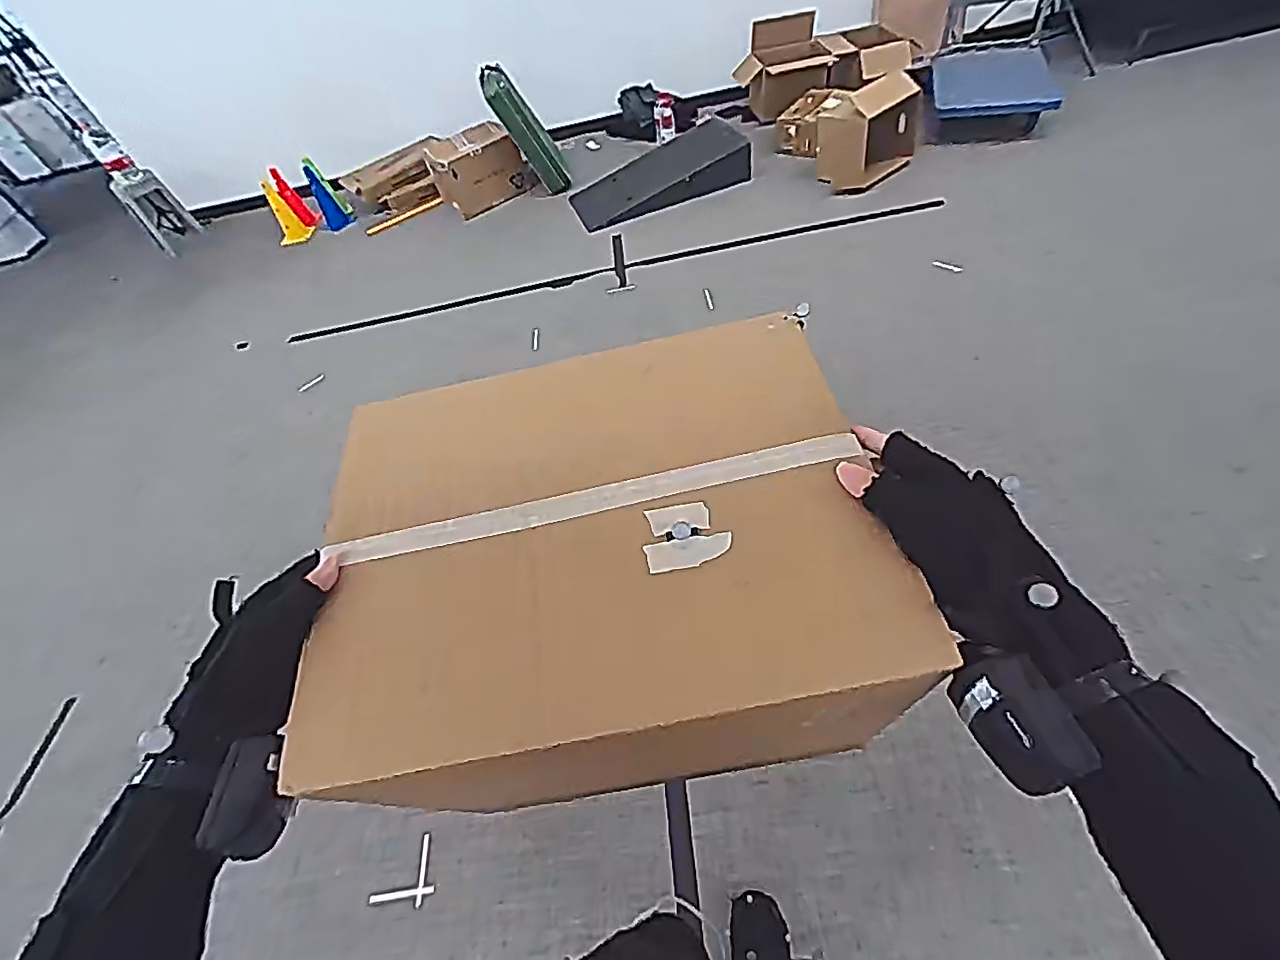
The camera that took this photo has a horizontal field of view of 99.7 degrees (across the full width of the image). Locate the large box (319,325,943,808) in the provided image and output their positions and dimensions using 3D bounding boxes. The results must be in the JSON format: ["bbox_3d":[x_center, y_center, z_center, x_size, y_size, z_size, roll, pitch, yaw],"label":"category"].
[{"bbox_3d":[-0.011,0.104,0.536,0.408,0.320,0.320,-12,56,2],"label":"large box"}]
